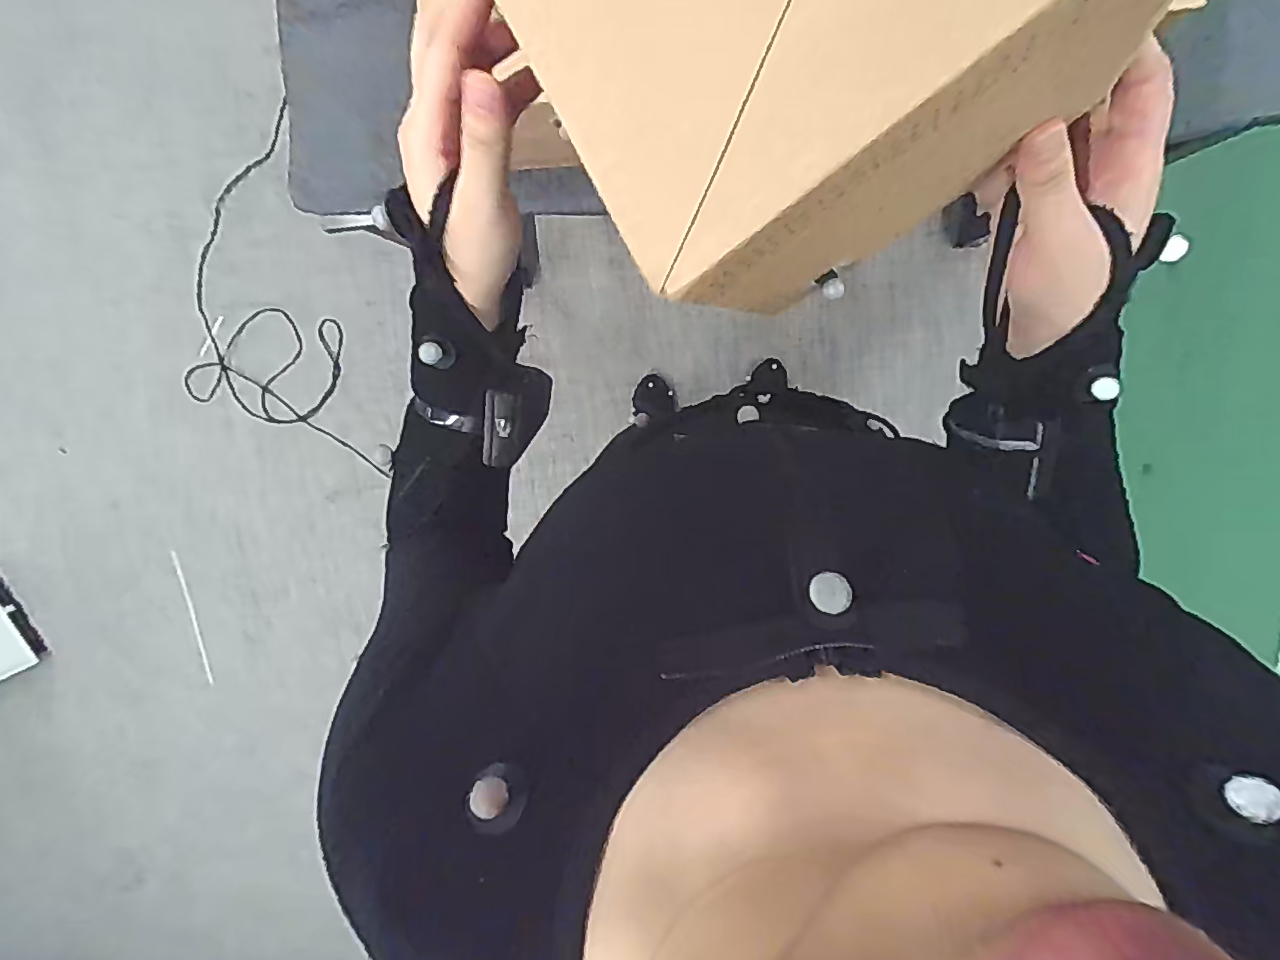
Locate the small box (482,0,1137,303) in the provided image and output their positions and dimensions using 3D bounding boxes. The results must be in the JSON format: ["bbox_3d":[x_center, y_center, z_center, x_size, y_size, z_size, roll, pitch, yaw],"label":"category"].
[{"bbox_3d":[0.067,-0.191,0.221,0.179,0.176,0.168,-27,89,32],"label":"small box"}]

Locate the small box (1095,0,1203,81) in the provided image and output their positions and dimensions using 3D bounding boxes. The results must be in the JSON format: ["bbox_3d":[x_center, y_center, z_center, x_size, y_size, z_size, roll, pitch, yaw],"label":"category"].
[{"bbox_3d":[0.399,-0.496,0.529,0.168,0.176,0.179,-2,101,7],"label":"small box"}]

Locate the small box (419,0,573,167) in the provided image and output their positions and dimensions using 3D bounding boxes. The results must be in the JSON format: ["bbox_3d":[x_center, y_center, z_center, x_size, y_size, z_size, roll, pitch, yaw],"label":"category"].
[{"bbox_3d":[-0.117,-0.461,0.588,0.179,0.176,0.168,0,102,6],"label":"small box"}]
